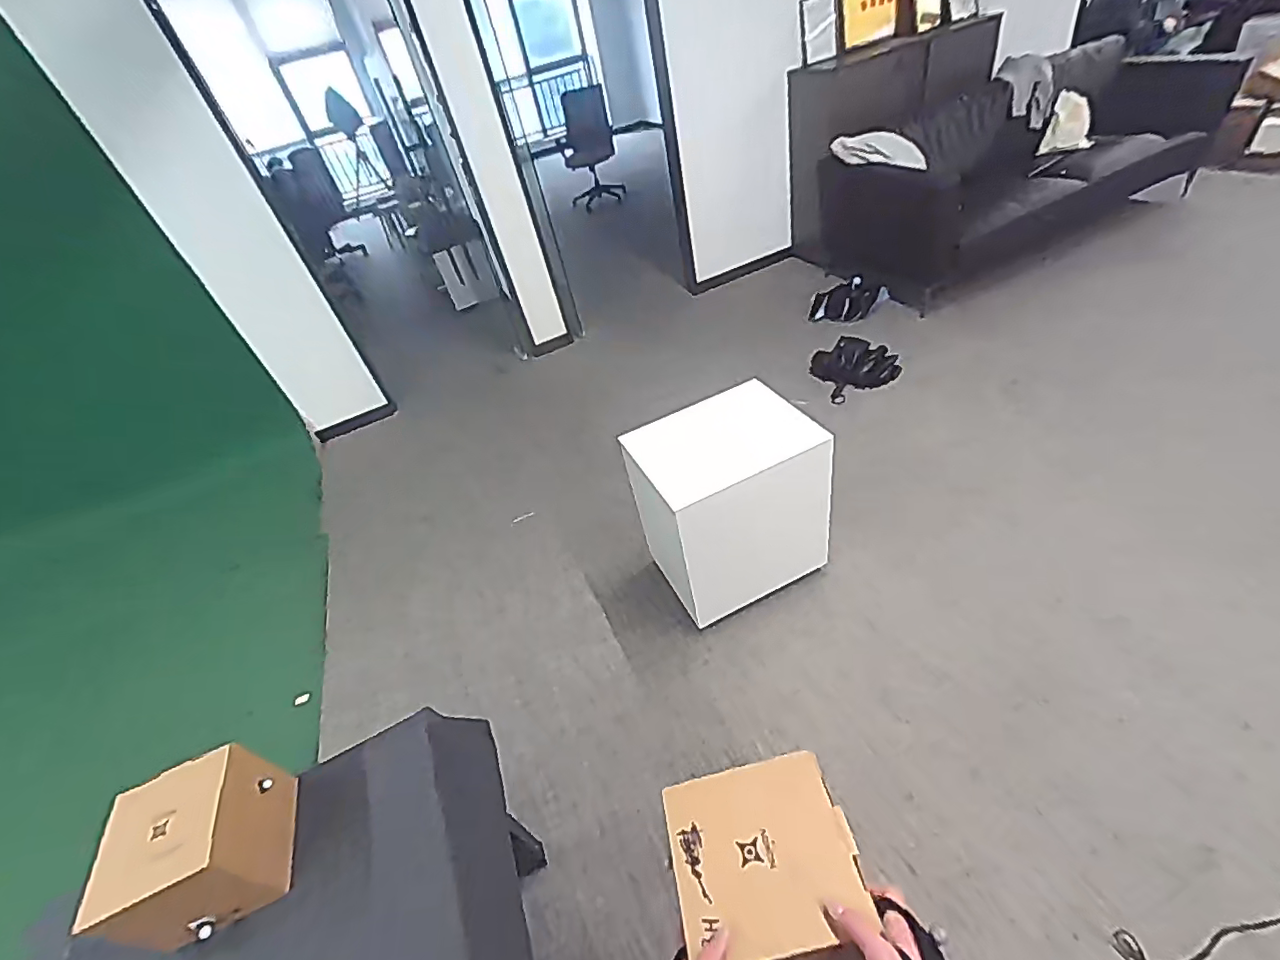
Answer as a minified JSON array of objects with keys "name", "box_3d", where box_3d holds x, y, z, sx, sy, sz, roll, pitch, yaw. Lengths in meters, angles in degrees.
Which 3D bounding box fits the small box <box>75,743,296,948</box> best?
[{"name":"small box","box_3d":[-0.635,0.531,0.787,0.168,0.176,0.179,-25,43,-9]}]

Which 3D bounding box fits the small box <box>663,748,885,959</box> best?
[{"name":"small box","box_3d":[0.135,0.423,0.576,0.179,0.176,0.168,-16,35,2]}]
